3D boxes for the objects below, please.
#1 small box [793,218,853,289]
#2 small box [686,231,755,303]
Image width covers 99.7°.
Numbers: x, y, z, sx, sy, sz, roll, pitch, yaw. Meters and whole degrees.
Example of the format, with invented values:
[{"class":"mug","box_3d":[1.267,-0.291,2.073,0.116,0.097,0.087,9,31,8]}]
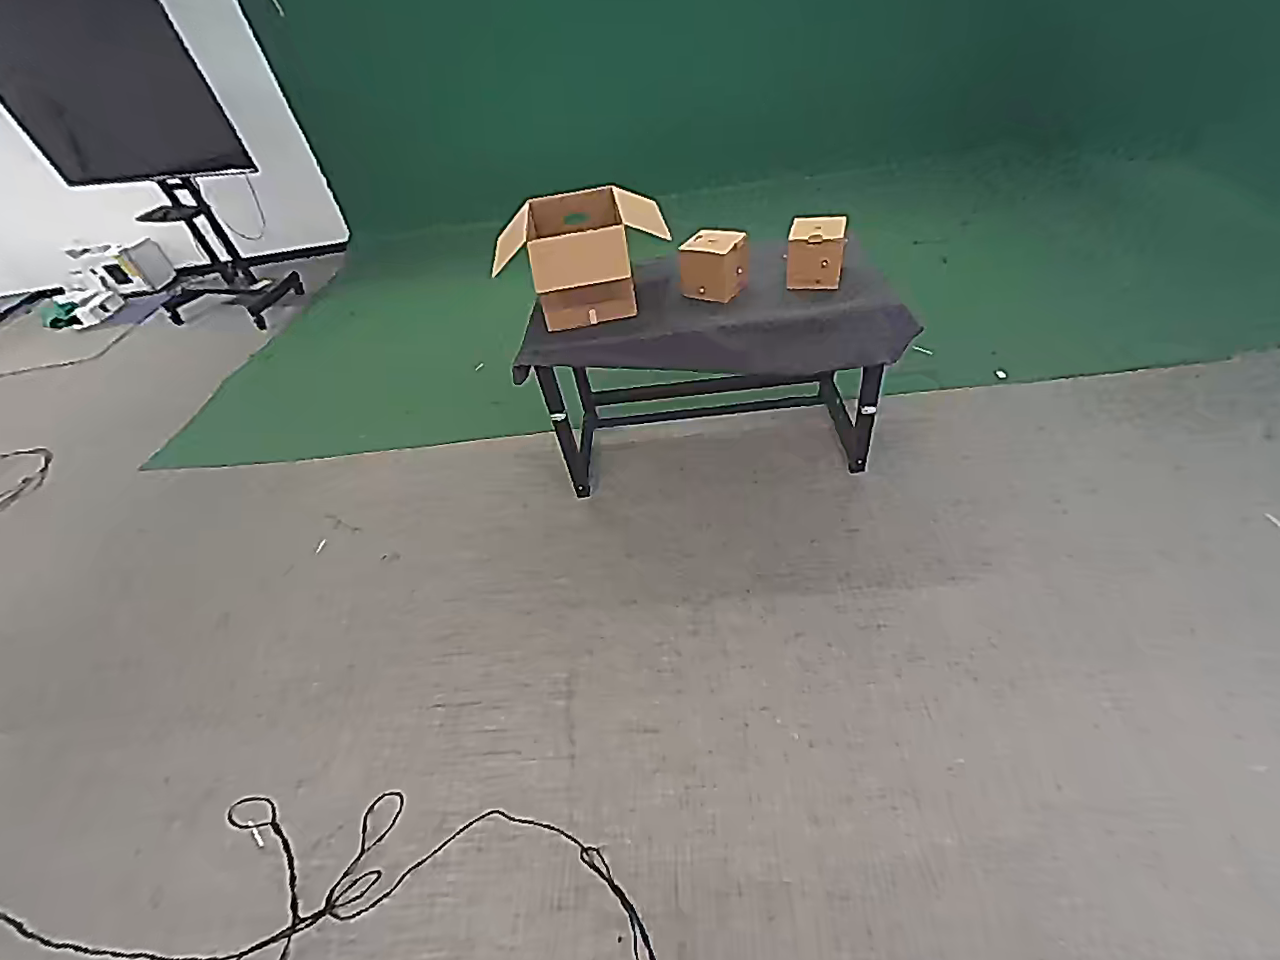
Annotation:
[{"class":"small box","box_3d":[0.604,-0.747,1.791,0.168,0.176,0.179,8,46,18]},{"class":"small box","box_3d":[0.277,-0.723,1.838,0.179,0.176,0.168,21,53,30]}]
